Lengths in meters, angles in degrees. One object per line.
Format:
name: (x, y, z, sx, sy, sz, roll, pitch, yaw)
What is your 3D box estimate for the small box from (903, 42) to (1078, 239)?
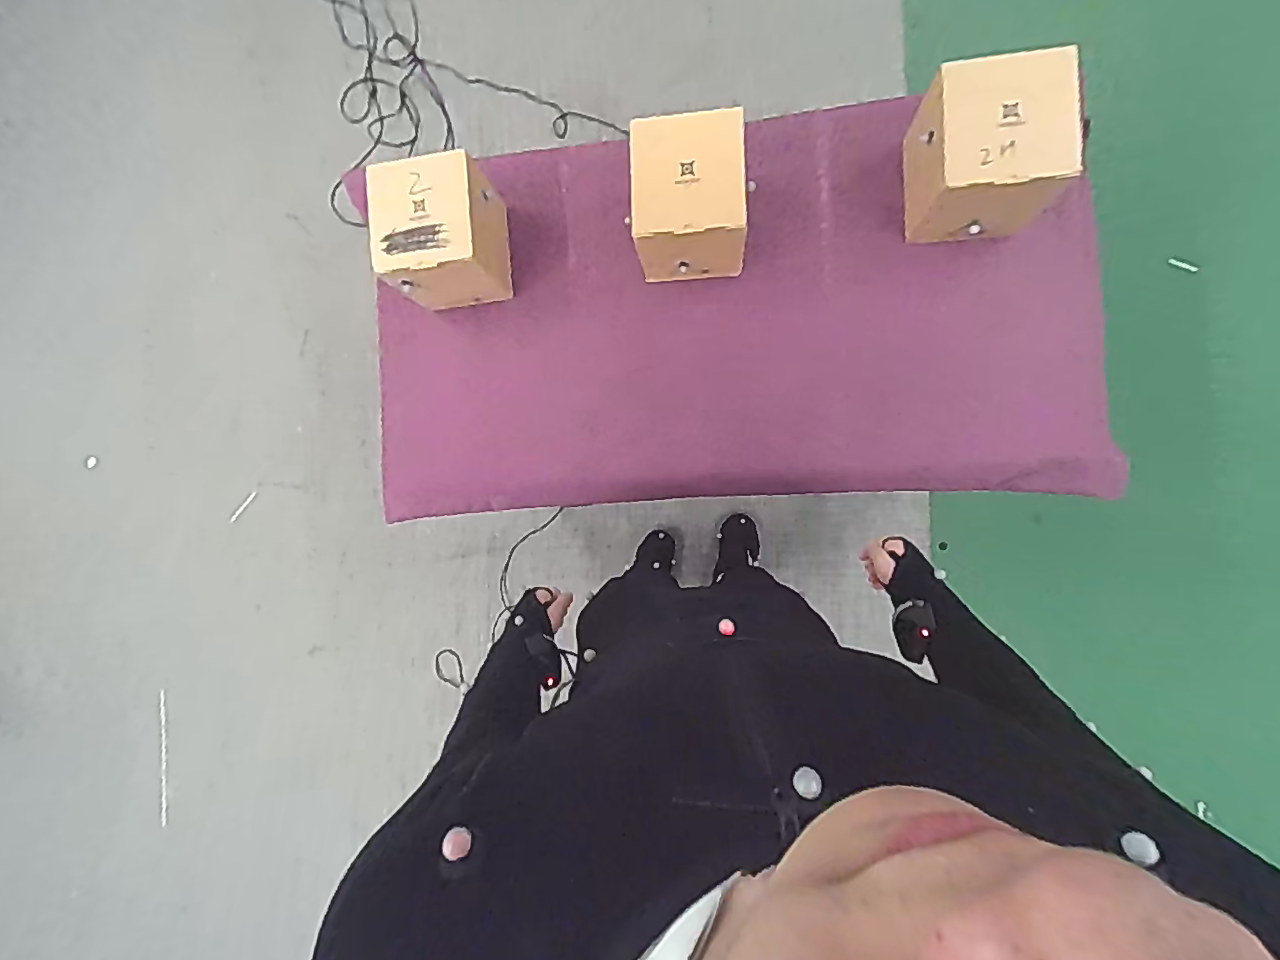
small box: (0.497, -0.482, 0.793, 0.168, 0.176, 0.179, -1, 89, 10)

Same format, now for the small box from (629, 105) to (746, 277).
small box: (0.074, -0.442, 0.851, 0.168, 0.176, 0.179, -2, 89, 7)
